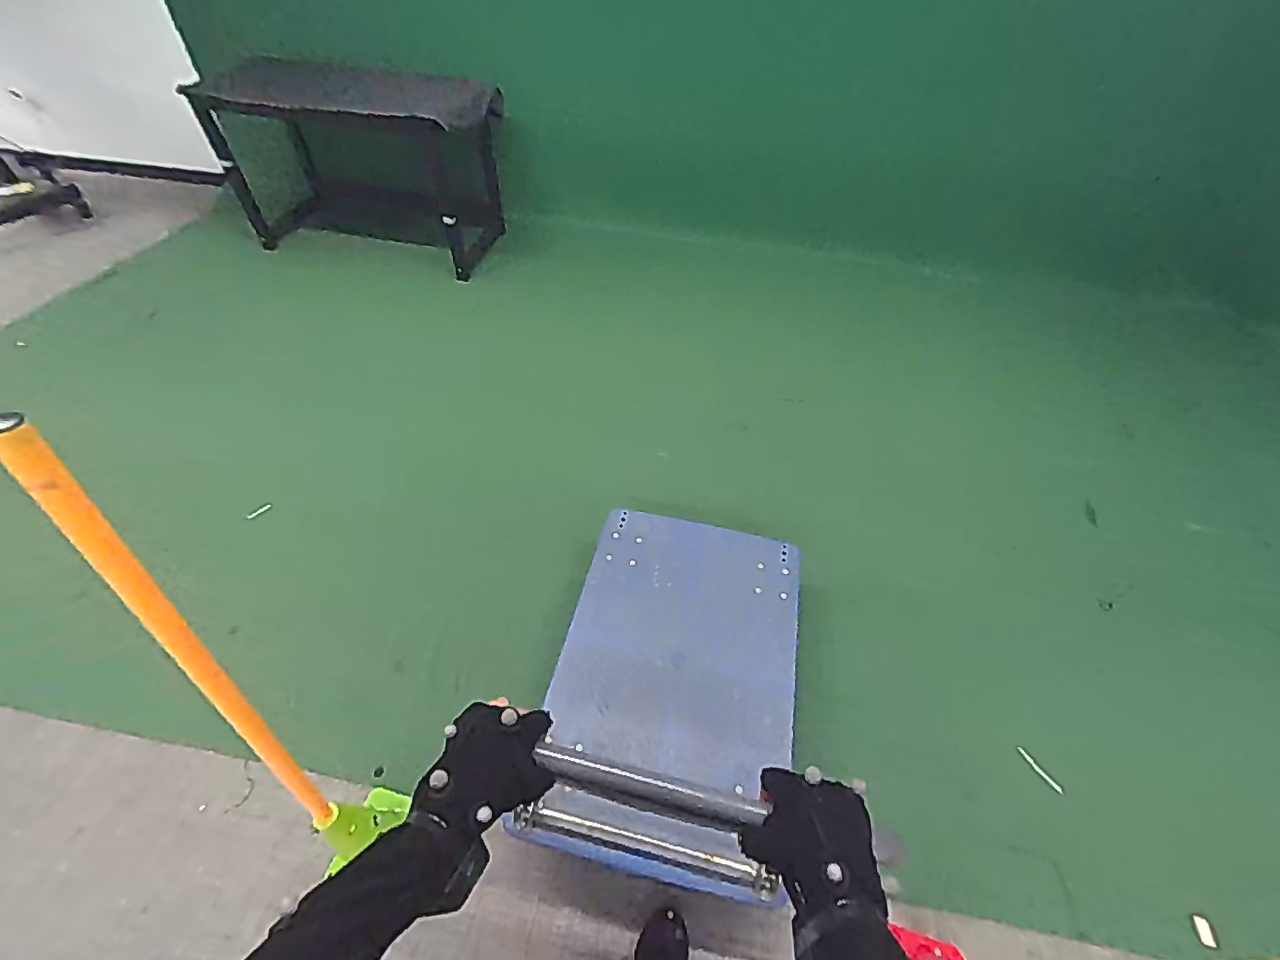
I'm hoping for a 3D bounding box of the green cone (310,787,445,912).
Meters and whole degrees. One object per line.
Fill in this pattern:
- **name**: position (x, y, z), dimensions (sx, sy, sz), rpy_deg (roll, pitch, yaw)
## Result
- **green cone**: position (-0.558, 0.700, 1.079), dimensions (0.202, 0.368, 0.200), rpy_deg (12, 48, 9)
